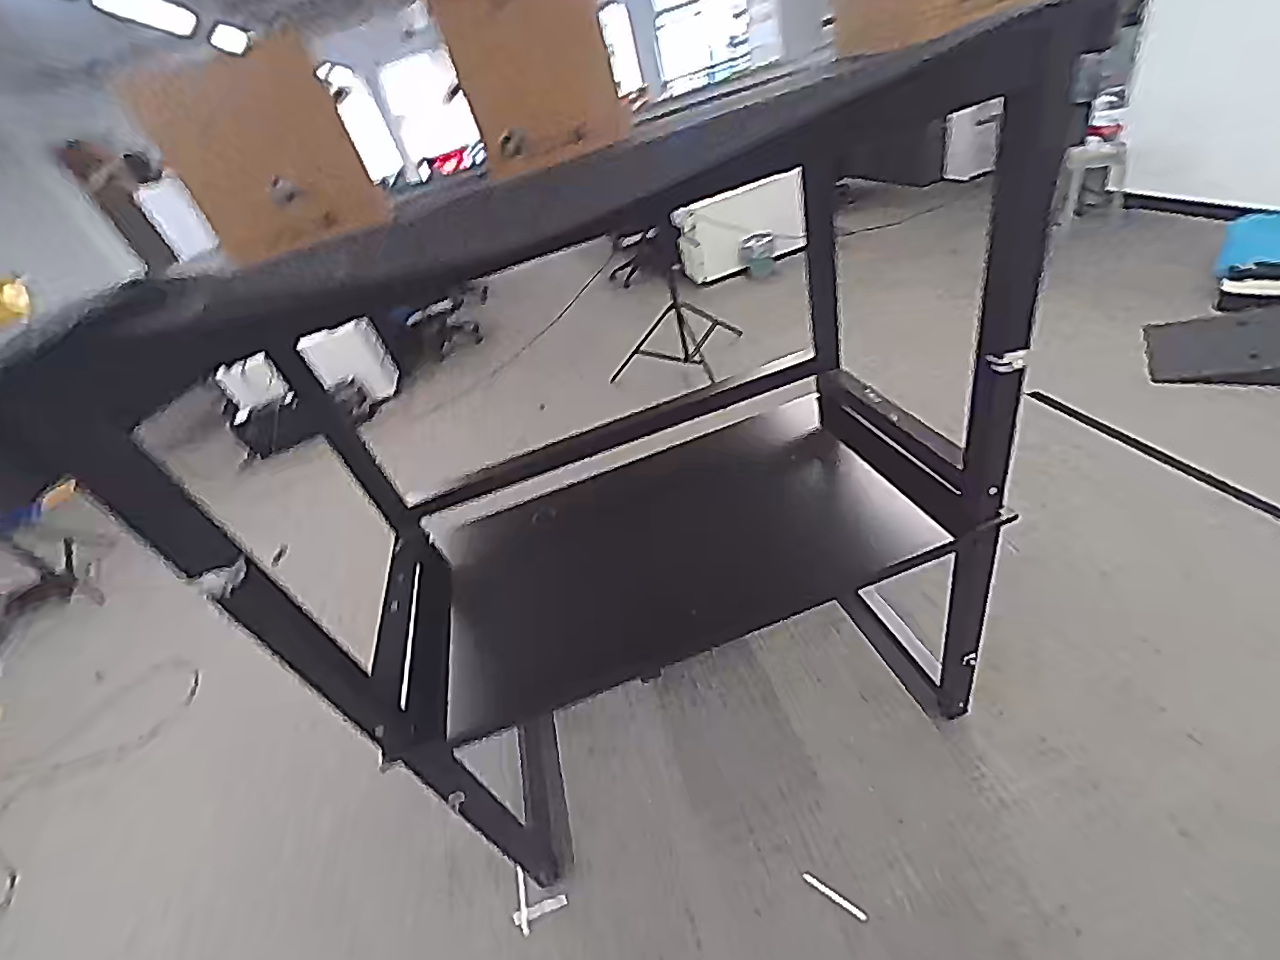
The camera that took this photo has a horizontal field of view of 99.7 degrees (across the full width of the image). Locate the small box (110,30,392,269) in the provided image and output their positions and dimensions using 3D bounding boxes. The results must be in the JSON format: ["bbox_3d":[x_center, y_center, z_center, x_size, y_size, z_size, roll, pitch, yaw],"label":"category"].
[{"bbox_3d":[-0.388,-0.343,0.584,0.168,0.176,0.179,-27,35,-10],"label":"small box"}]

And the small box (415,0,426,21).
[{"bbox_3d":[-0.171,-0.575,0.514,0.168,0.176,0.179,-22,34,-6],"label":"small box"}]

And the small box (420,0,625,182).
[{"bbox_3d":[-0.128,-0.457,0.619,0.168,0.176,0.179,-21,34,-4],"label":"small box"}]
